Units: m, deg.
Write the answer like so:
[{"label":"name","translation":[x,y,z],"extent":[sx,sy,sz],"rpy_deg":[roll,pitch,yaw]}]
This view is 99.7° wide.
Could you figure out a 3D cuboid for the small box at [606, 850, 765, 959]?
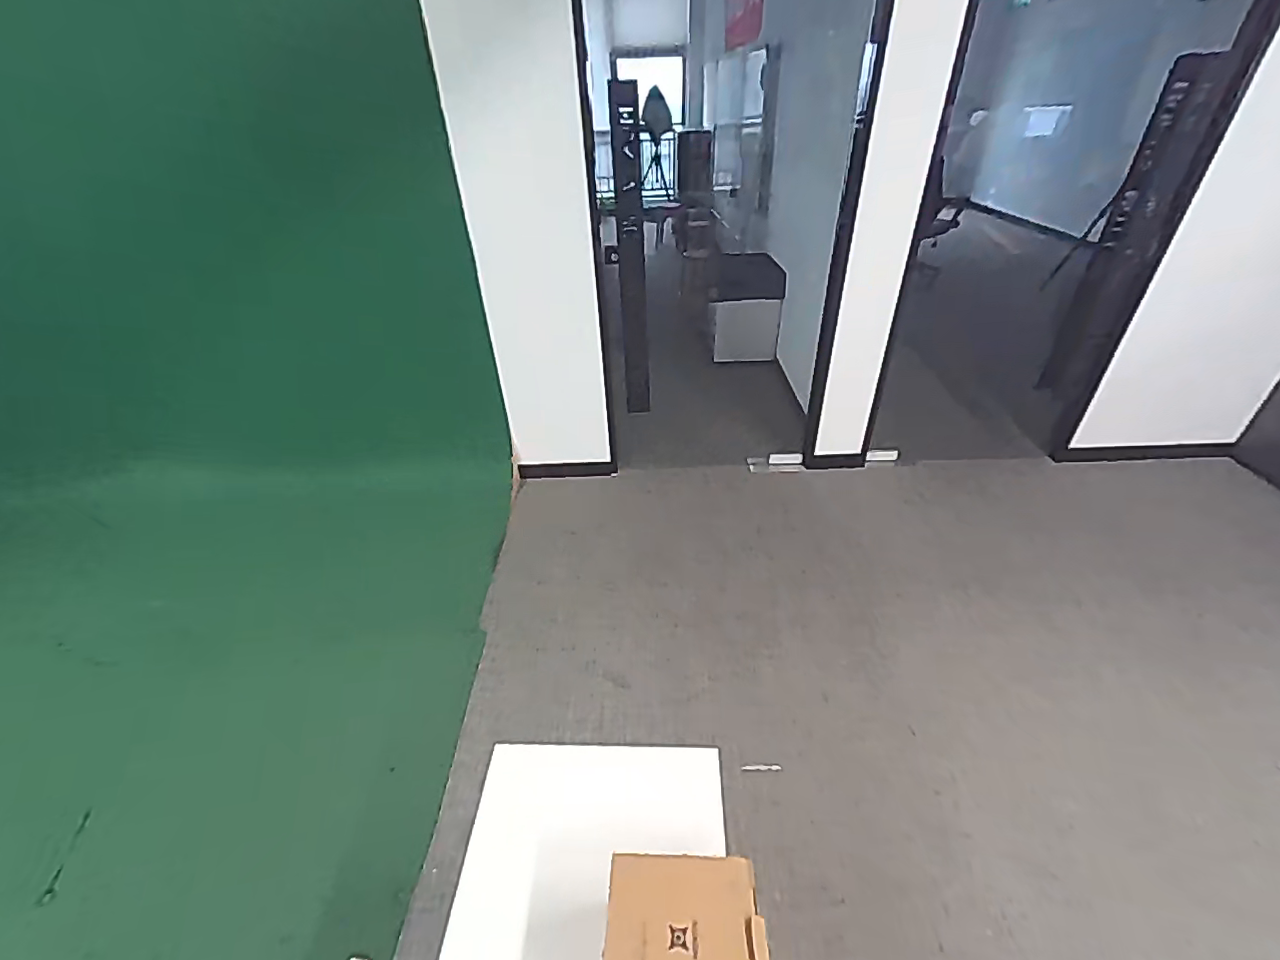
[{"label":"small box","translation":[0.054,0.577,0.652],"extent":[0.179,0.176,0.168],"rpy_deg":[-1,34,4]}]
